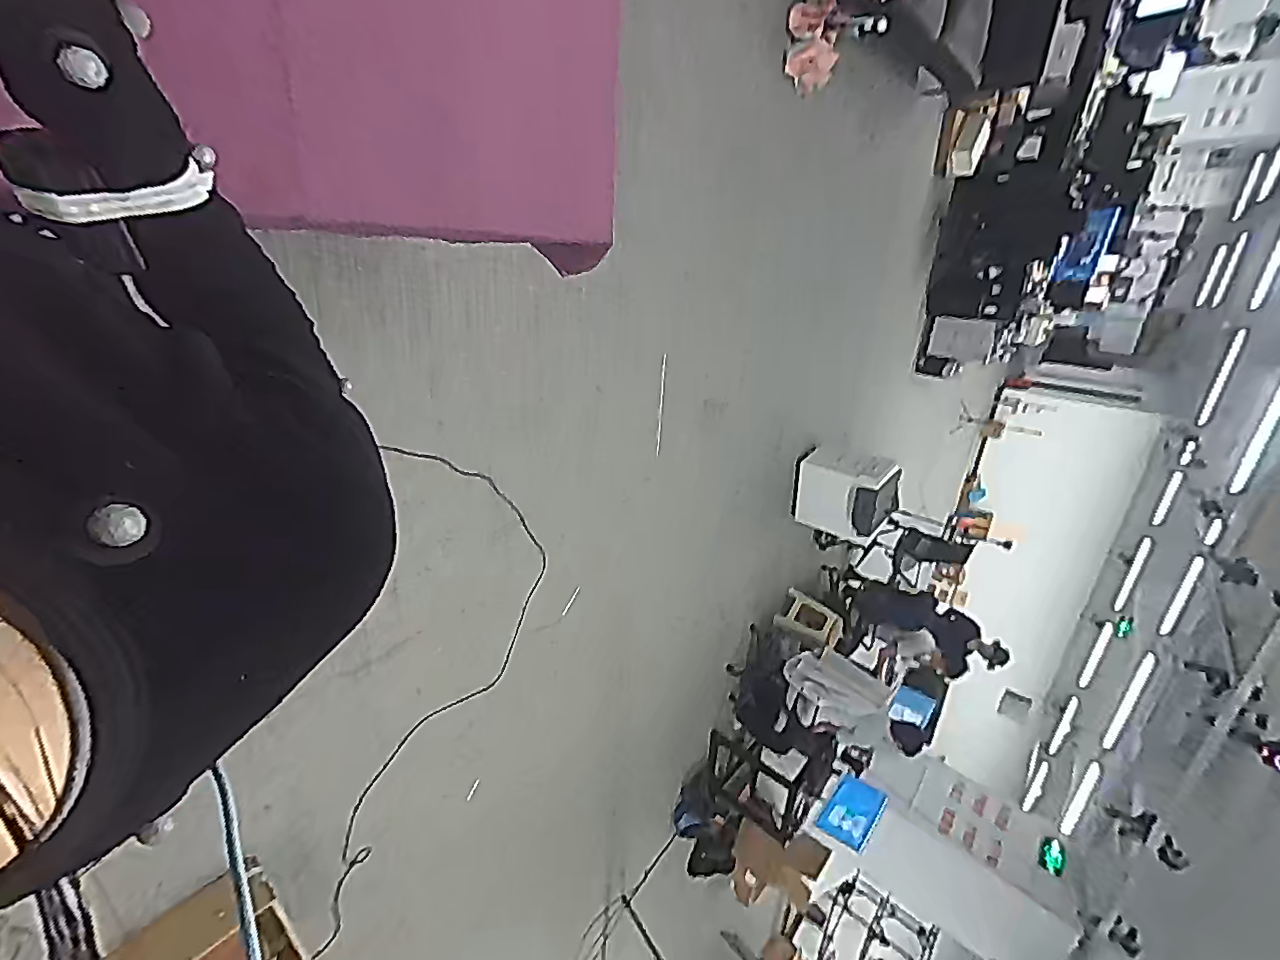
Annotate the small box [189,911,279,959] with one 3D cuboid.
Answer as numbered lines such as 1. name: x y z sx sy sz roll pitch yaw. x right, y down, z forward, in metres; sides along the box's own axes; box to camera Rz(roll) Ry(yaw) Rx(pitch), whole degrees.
1. small box: -1.174 1.426 1.576 0.179 0.176 0.168 -24 124 -40
